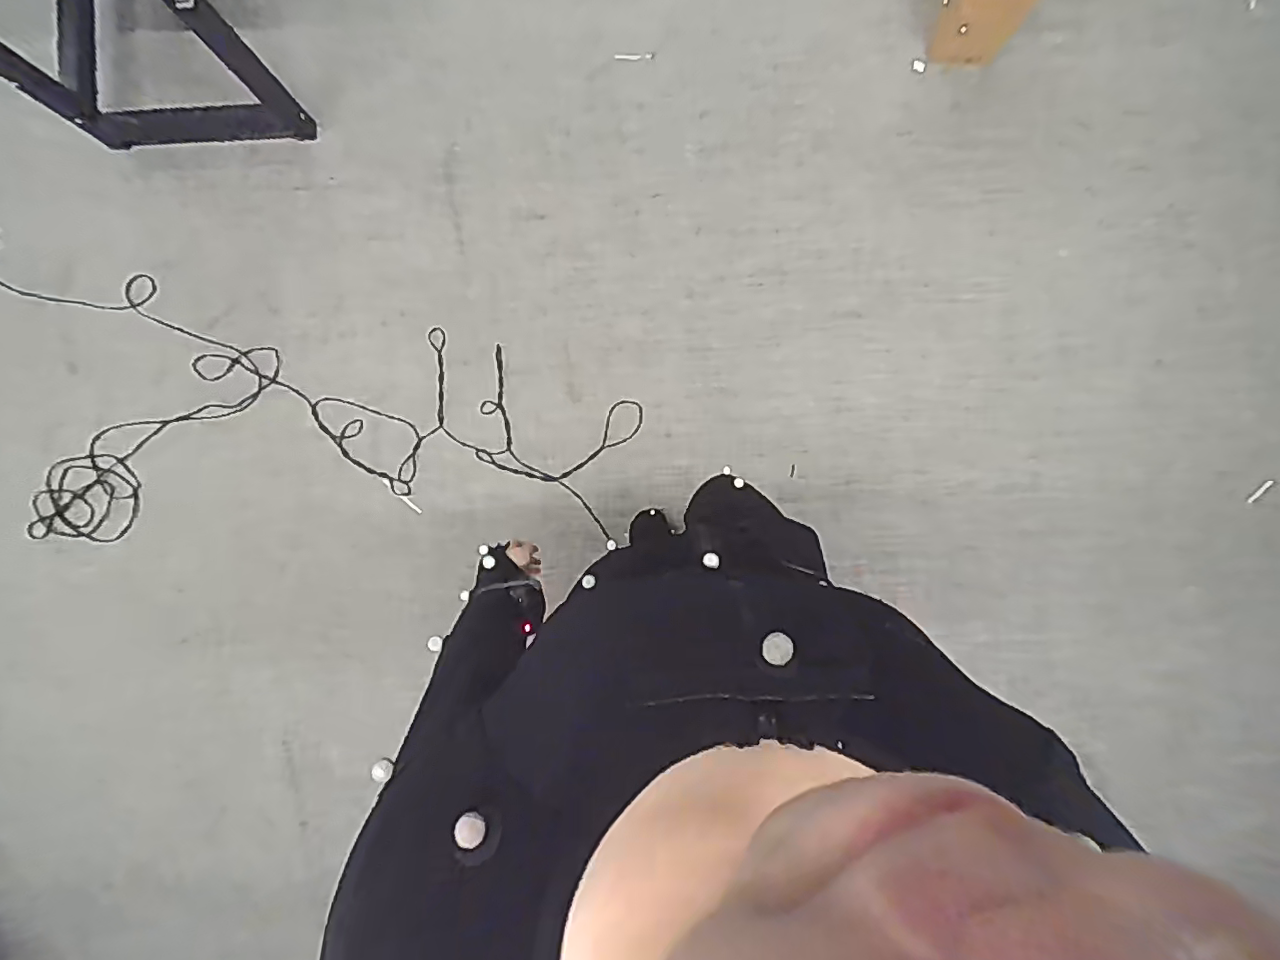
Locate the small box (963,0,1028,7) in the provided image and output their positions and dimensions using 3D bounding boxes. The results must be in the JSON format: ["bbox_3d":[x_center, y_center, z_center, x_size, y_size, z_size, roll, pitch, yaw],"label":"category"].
[{"bbox_3d":[0.895,-1.269,1.273,0.179,0.176,0.168,6,90,1],"label":"small box"}]
